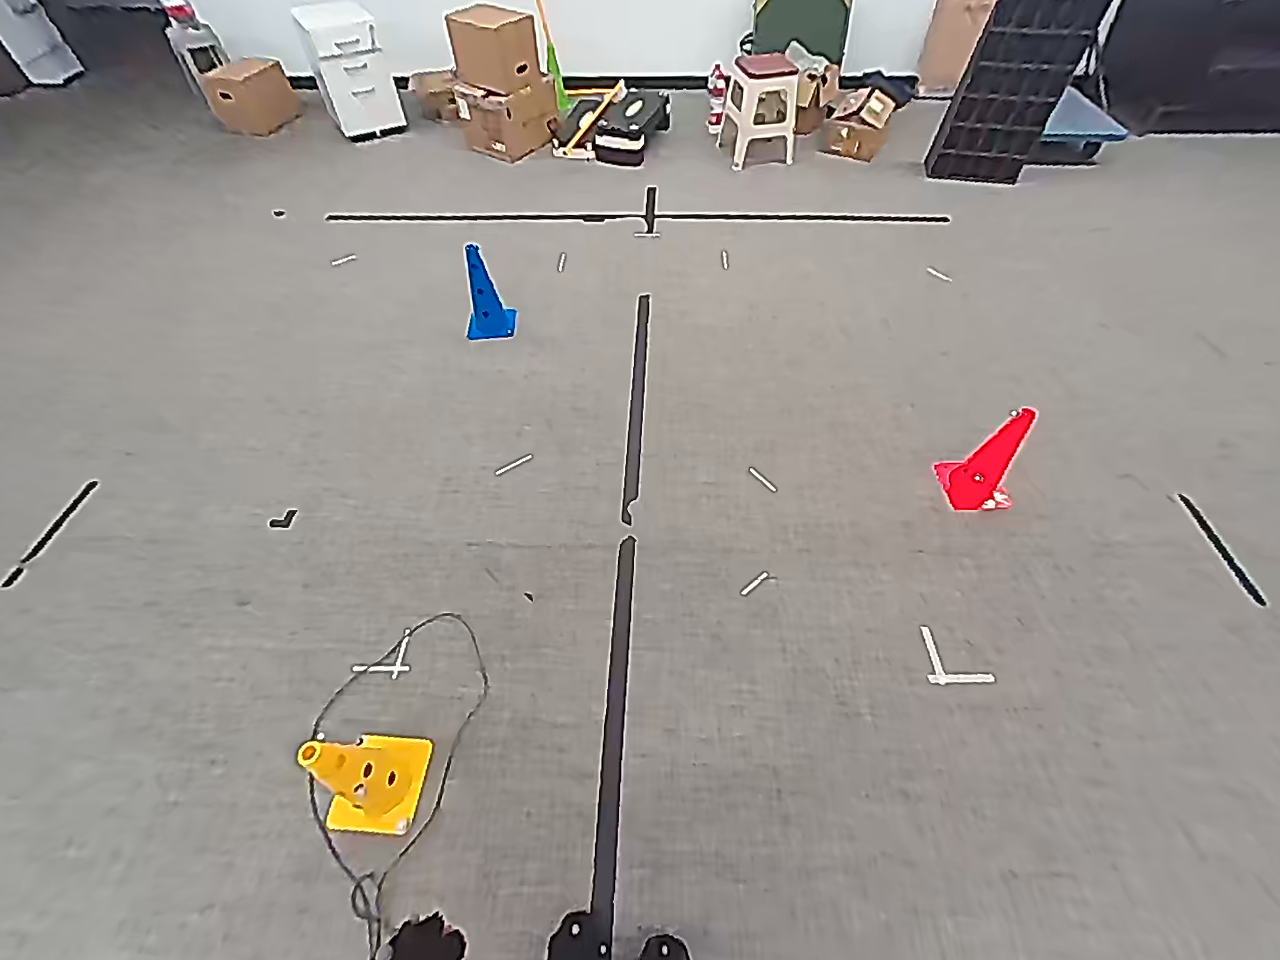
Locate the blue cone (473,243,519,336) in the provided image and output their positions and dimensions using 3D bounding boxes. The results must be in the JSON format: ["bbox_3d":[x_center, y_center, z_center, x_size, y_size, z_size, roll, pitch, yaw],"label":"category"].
[{"bbox_3d":[-0.628,-0.791,2.230,0.192,0.380,0.193,-2,52,-1],"label":"blue cone"}]

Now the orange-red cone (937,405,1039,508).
[{"bbox_3d":[1.115,-0.093,1.674,0.198,0.360,0.199,-1,51,-1],"label":"orange-red cone"}]
